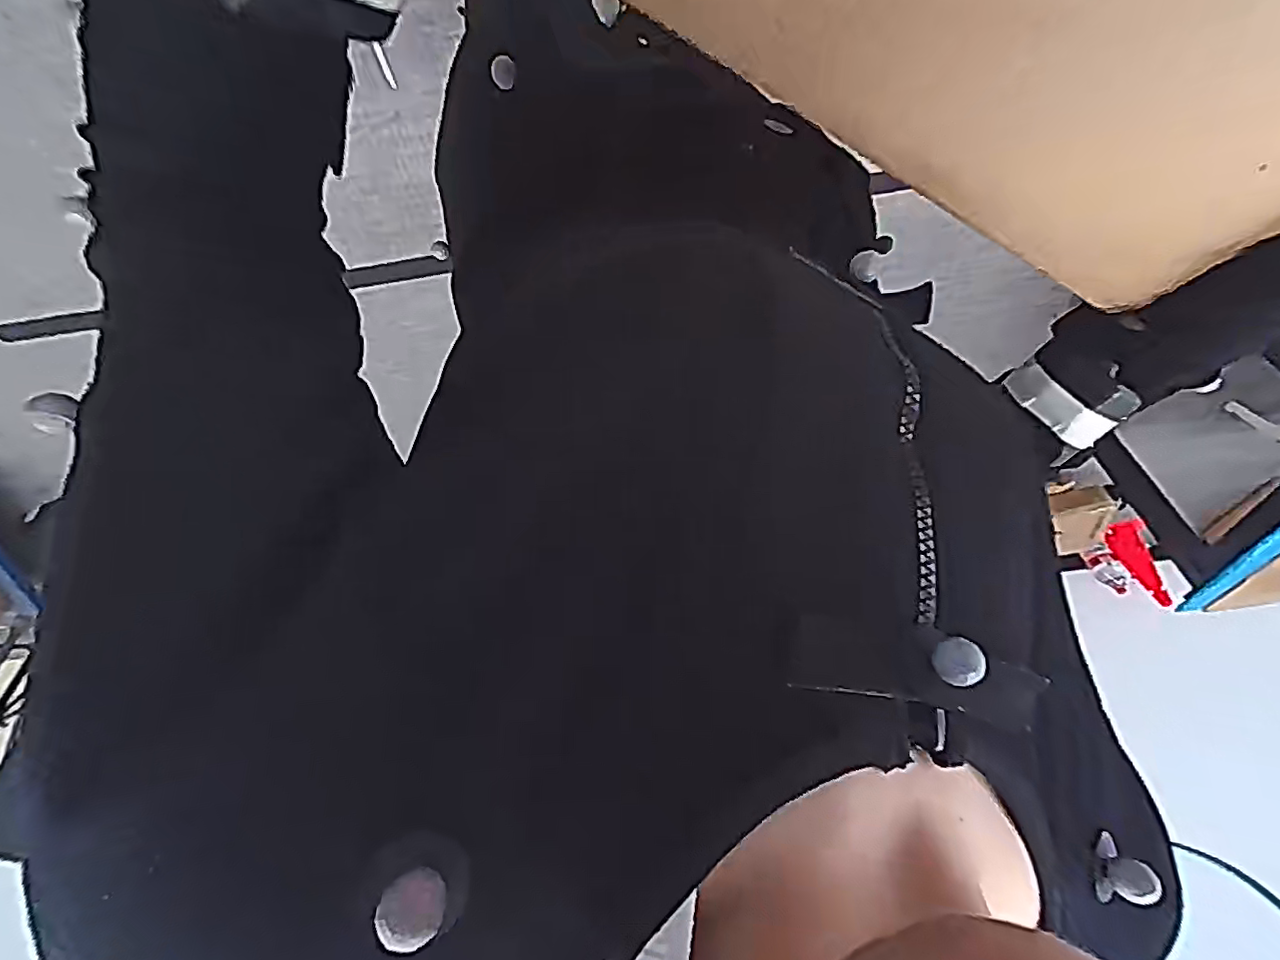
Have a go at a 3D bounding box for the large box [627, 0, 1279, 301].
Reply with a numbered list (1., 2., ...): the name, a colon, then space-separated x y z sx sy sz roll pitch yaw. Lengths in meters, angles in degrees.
1. large box: 0.182 -0.337 0.175 0.408 0.320 0.320 17 158 -21
